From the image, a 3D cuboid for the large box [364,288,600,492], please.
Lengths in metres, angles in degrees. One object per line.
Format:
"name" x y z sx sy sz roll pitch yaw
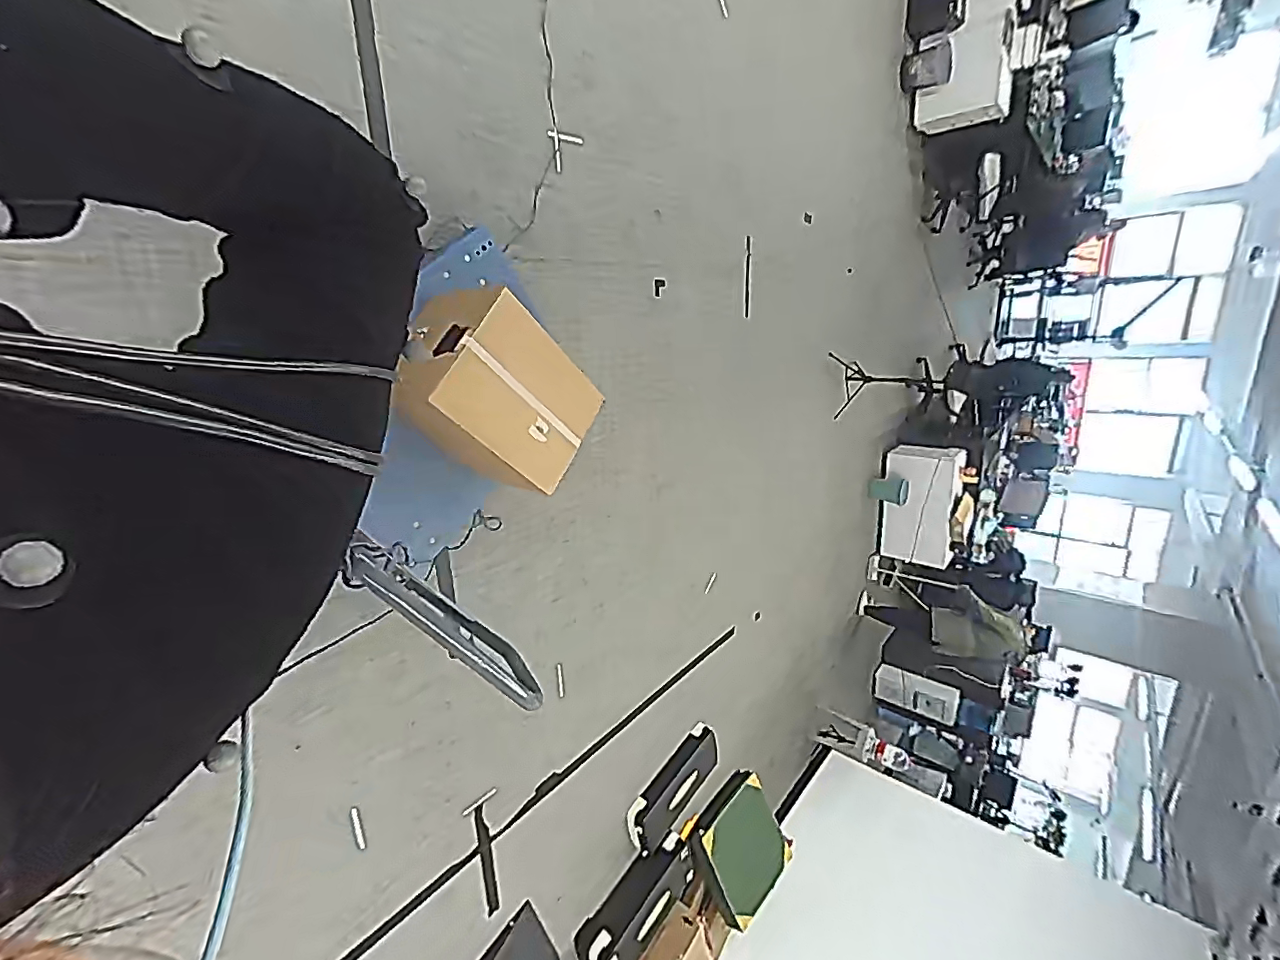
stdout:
"large box" -0.381 -0.216 1.358 0.408 0.320 0.320 46 65 -45
